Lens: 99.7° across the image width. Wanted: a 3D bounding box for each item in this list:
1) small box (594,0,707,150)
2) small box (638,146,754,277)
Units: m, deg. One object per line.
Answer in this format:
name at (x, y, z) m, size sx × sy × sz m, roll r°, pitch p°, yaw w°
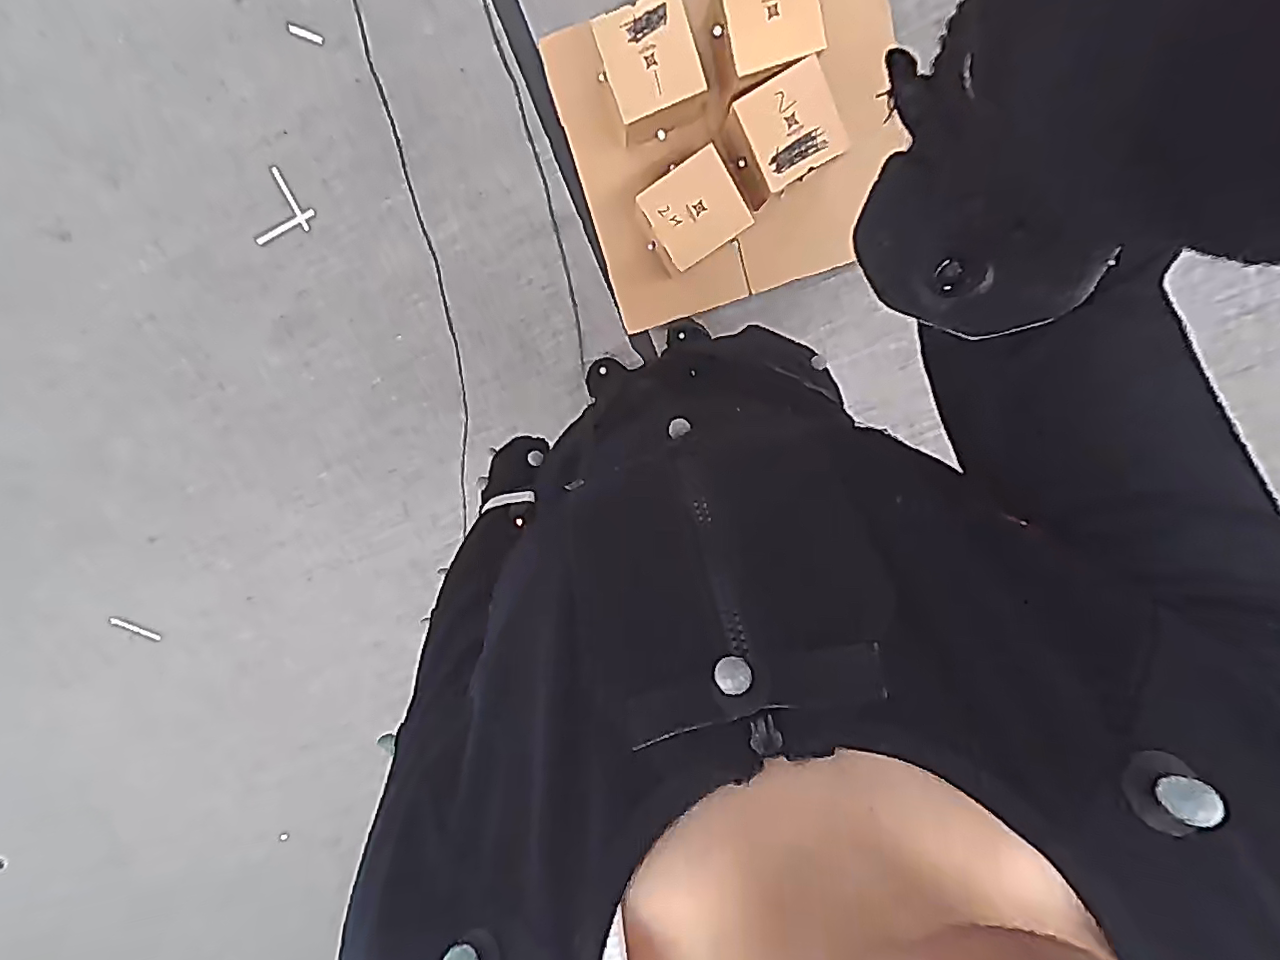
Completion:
small box at (0.018, -0.786, 1.054) m, size 0.168 × 0.176 × 0.179 m, roll -20°, pitch 106°, yaw 6°
small box at (0.108, -0.544, 1.123) m, size 0.179 × 0.176 × 0.168 m, roll -31°, pitch 103°, yaw 9°
